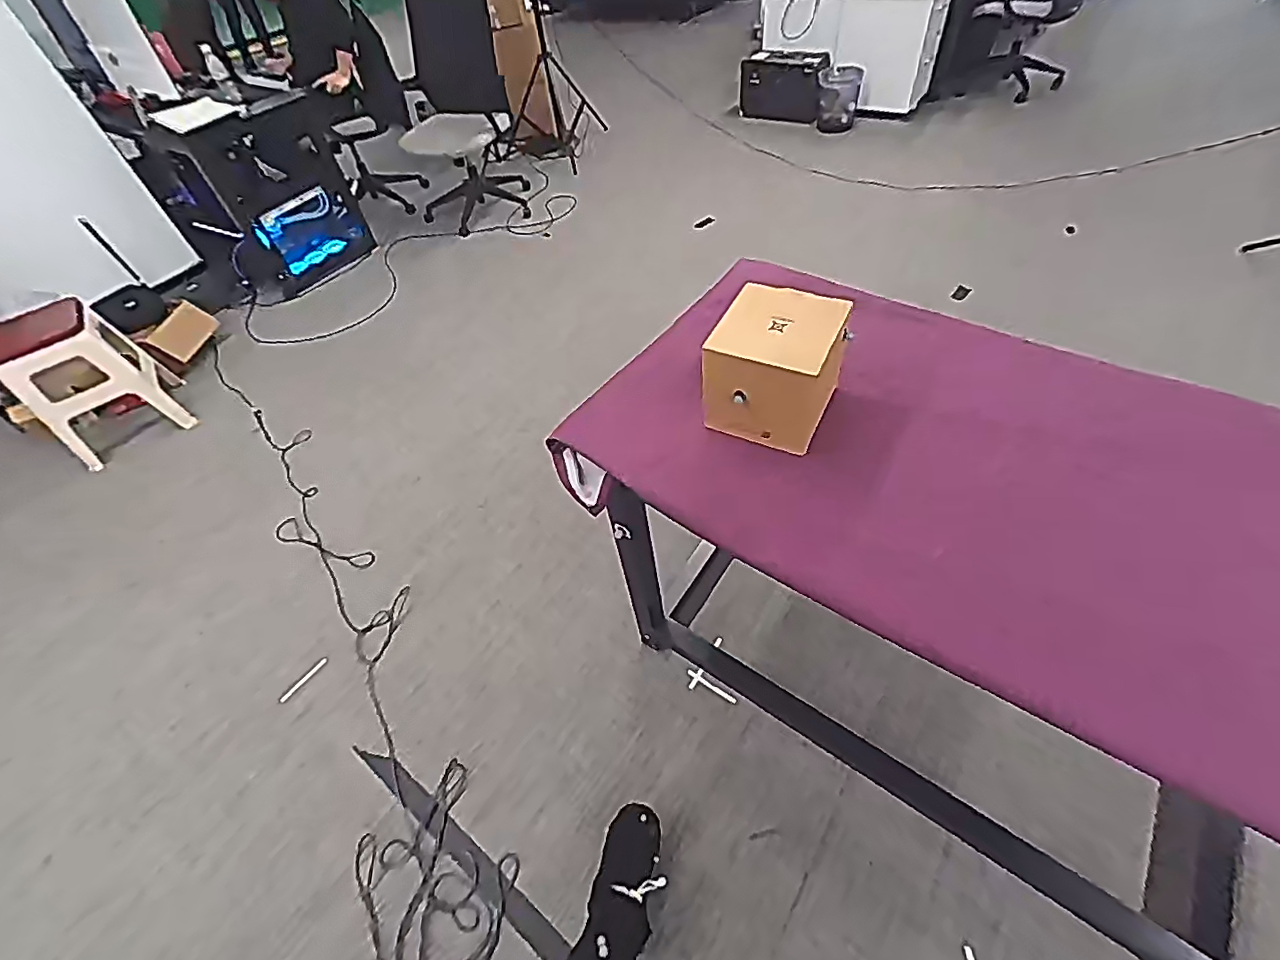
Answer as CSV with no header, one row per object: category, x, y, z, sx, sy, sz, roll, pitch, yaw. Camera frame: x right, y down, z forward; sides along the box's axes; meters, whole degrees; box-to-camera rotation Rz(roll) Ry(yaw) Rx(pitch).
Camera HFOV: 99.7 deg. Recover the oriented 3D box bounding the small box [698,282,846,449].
small box,0.202,-0.174,0.837,0.168,0.176,0.179,19,56,22
